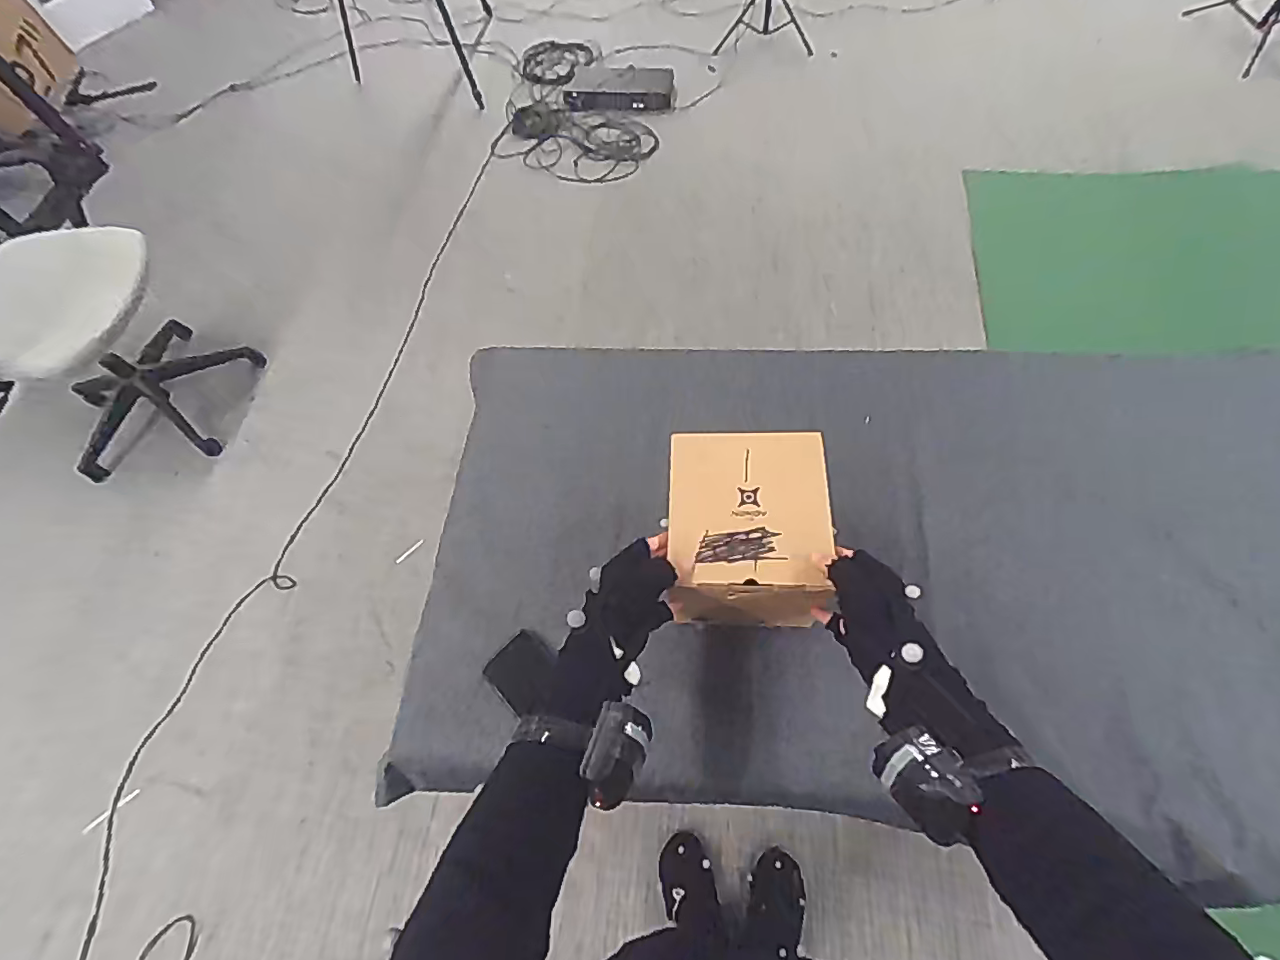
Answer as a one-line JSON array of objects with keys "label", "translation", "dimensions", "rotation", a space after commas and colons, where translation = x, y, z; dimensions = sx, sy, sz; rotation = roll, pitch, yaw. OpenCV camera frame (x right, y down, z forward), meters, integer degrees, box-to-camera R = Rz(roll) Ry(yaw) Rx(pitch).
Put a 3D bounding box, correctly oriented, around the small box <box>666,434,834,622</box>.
[{"label": "small box", "translation": [0.121, 0.063, 0.634], "dimensions": [0.168, 0.176, 0.179], "rotation": [0, 62, 7]}]
